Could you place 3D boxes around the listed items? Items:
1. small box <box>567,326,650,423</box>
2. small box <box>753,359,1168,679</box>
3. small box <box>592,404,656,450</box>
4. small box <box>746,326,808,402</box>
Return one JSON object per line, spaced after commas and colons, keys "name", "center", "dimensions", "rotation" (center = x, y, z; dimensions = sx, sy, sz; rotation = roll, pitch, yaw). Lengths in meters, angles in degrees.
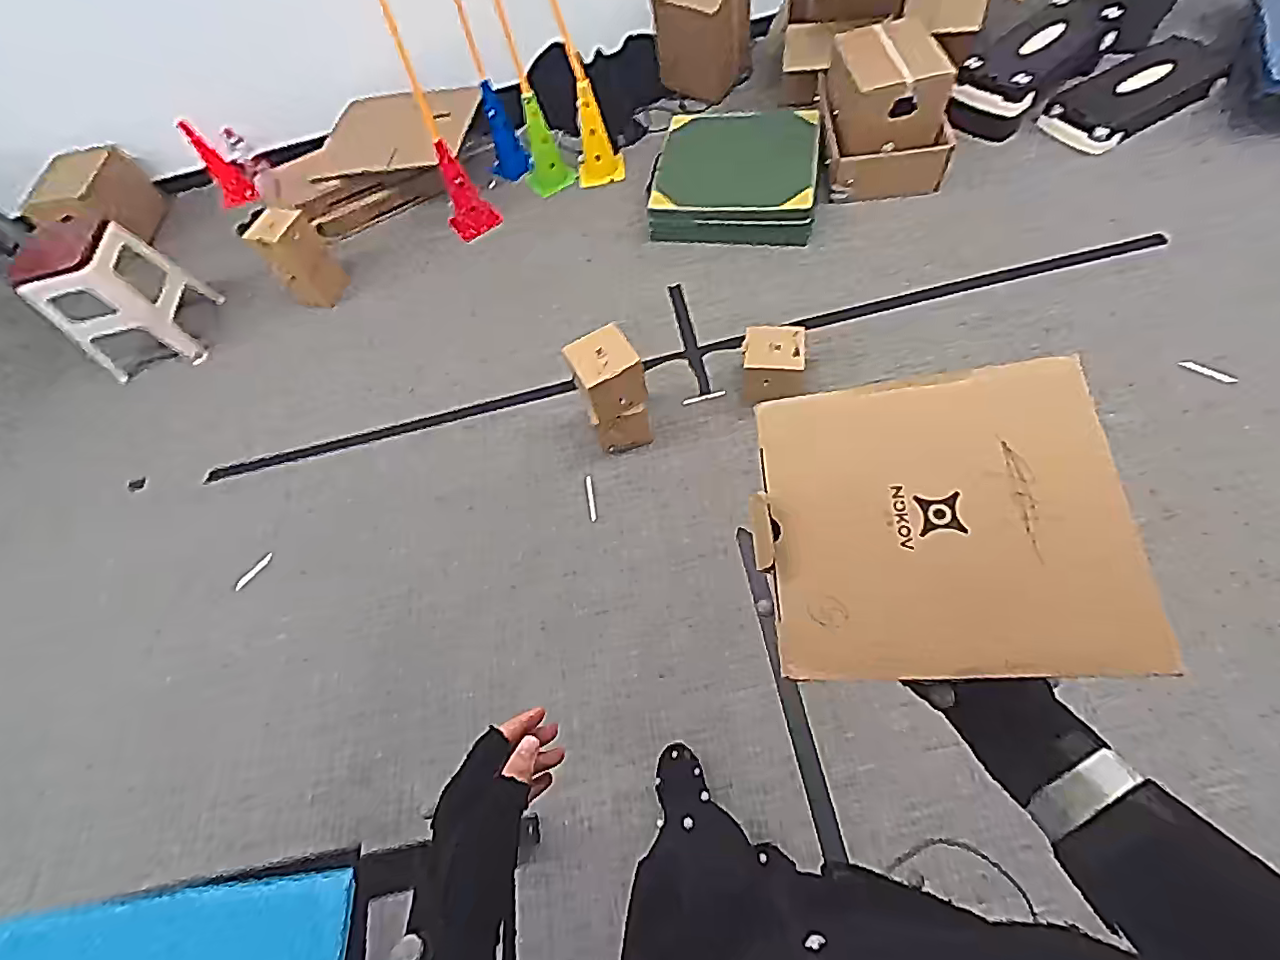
{"name": "small box", "center": [-0.086, -0.295, 1.541], "dimensions": [0.168, 0.176, 0.179], "rotation": [-27, 63, -3]}
{"name": "small box", "center": [0.179, 0.044, 0.362], "dimensions": [0.179, 0.176, 0.168], "rotation": [-6, 70, 17]}
{"name": "small box", "center": [-0.053, -0.209, 1.678], "dimensions": [0.168, 0.176, 0.179], "rotation": [-15, 60, 2]}
{"name": "small box", "center": [0.419, -0.355, 1.674], "dimensions": [0.179, 0.176, 0.168], "rotation": [1, 62, 9]}
